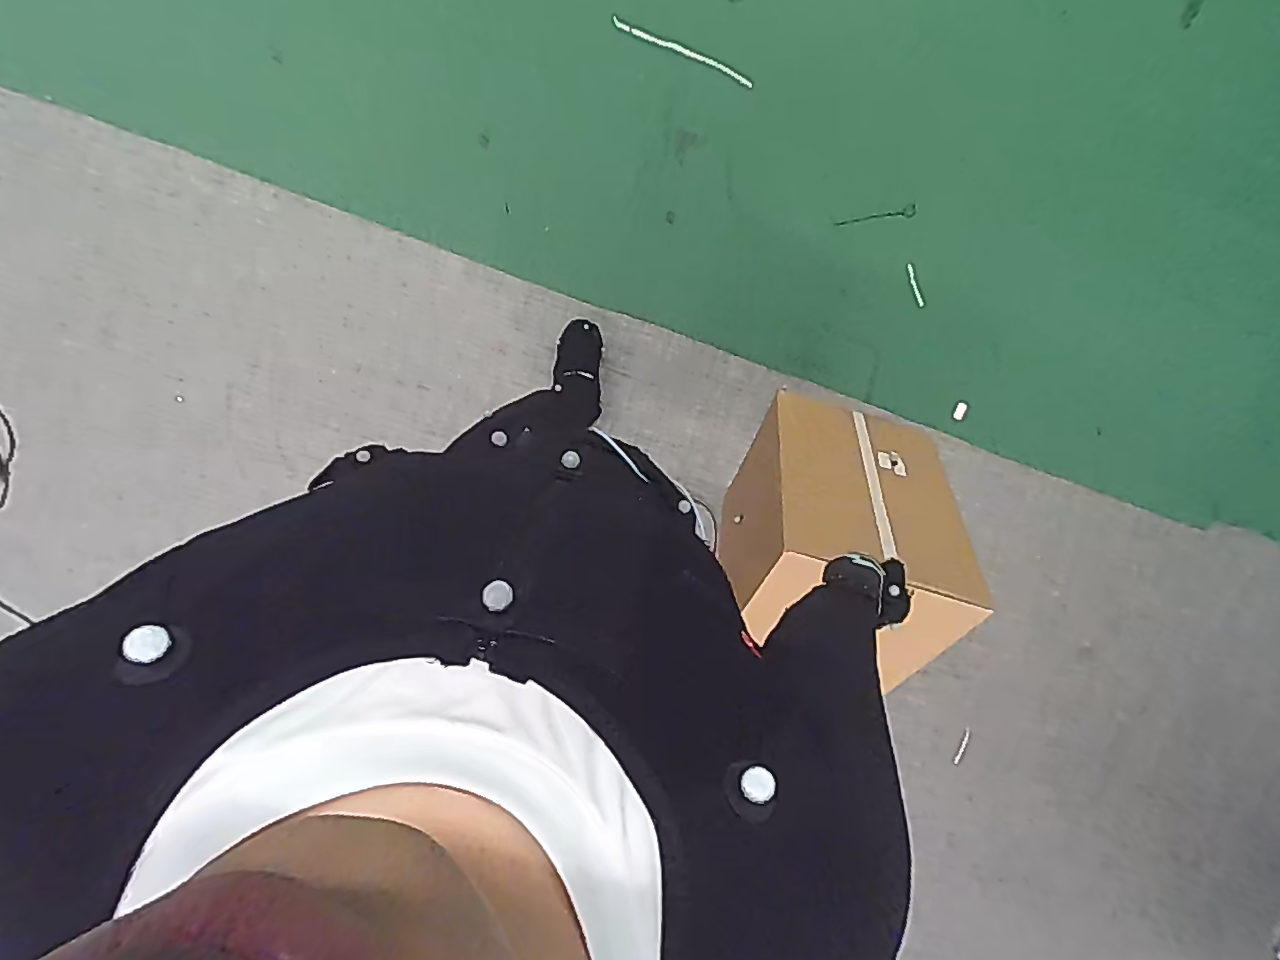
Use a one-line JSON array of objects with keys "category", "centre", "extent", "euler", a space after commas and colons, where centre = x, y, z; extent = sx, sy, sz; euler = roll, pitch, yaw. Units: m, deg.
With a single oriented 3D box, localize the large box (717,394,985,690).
[{"category": "large box", "centre": [0.340, 0.109, 1.004], "extent": [0.320, 0.408, 0.320], "euler": [17, 132, -3]}]
